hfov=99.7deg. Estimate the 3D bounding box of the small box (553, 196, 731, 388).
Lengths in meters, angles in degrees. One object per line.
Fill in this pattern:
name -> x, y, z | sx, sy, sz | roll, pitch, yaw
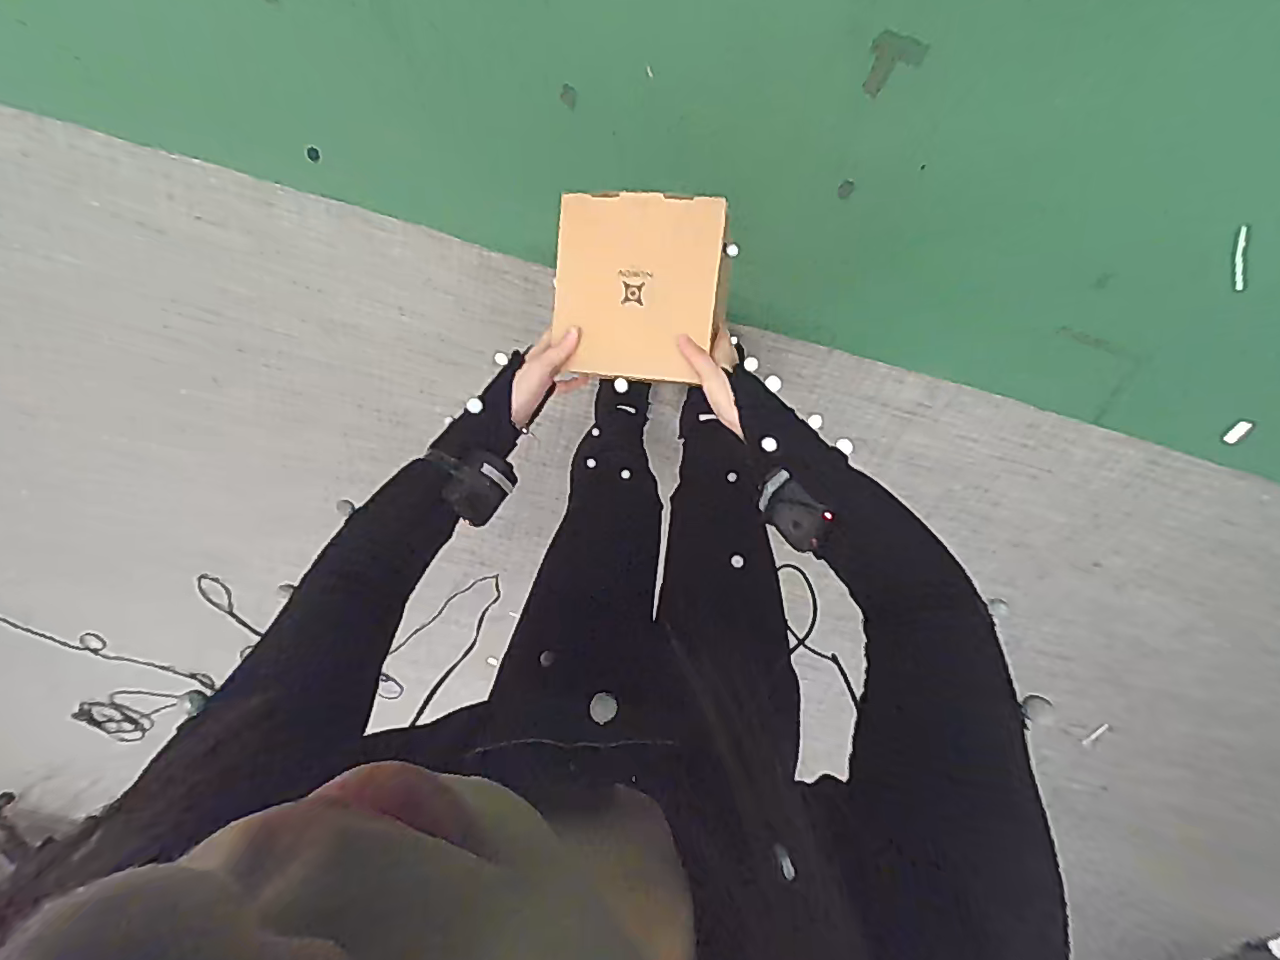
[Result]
small box -> 0.011, -0.200, 0.618 | 0.168, 0.176, 0.179 | 7, 99, 10
